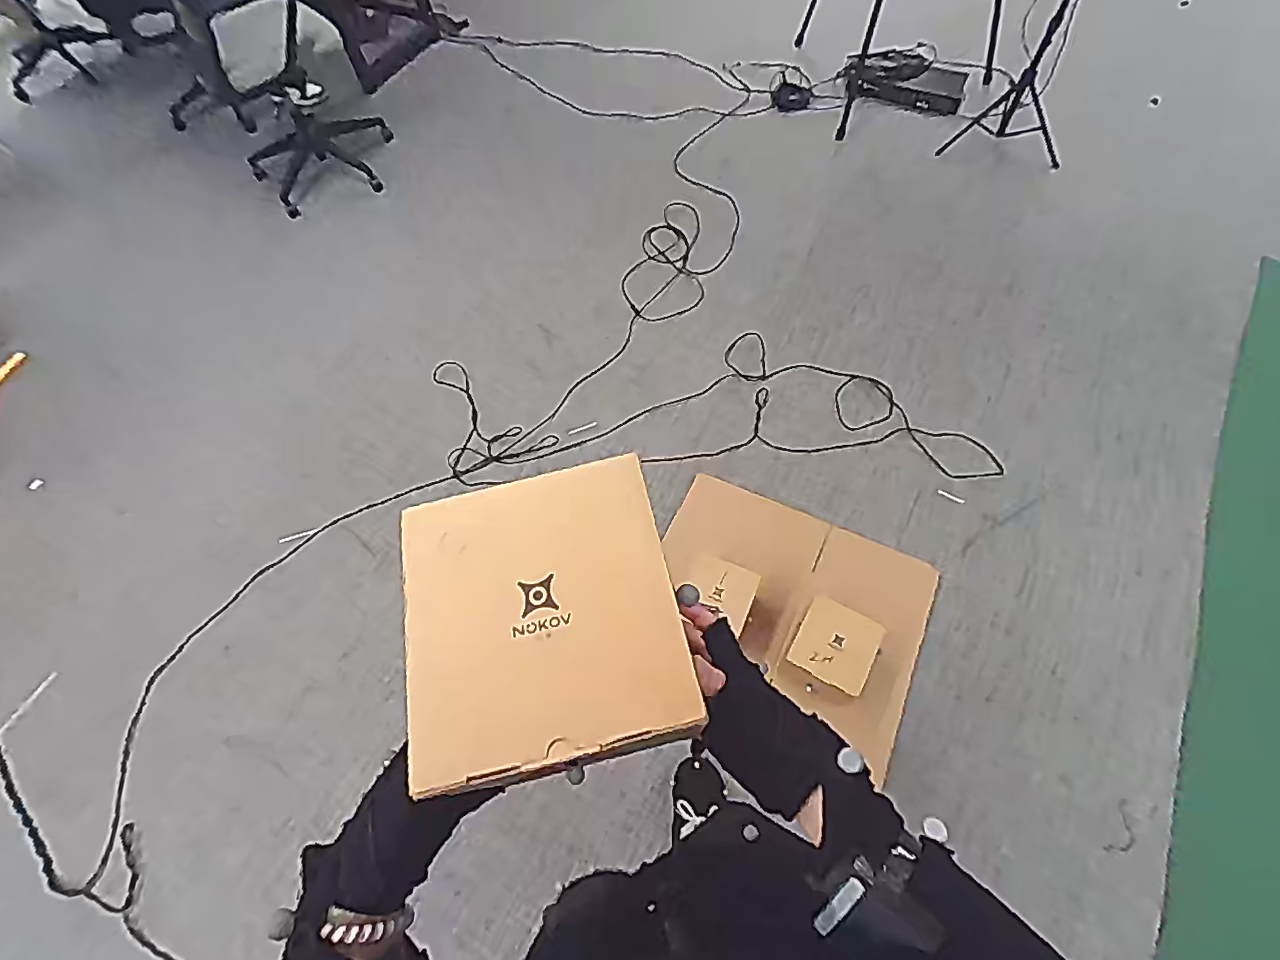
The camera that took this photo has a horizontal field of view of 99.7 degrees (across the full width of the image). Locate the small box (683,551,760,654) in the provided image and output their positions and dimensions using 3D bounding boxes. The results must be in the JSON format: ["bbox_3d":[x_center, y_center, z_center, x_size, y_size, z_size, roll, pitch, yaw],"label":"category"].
[{"bbox_3d":[0.183,0.308,1.333,0.168,0.176,0.179,21,66,15],"label":"small box"}]

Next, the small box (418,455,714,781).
[{"bbox_3d":[-0.050,0.109,0.405,0.168,0.176,0.179,-13,64,-2],"label":"small box"}]

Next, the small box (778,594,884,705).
[{"bbox_3d":[0.438,0.401,1.268,0.168,0.176,0.179,27,68,18],"label":"small box"}]
